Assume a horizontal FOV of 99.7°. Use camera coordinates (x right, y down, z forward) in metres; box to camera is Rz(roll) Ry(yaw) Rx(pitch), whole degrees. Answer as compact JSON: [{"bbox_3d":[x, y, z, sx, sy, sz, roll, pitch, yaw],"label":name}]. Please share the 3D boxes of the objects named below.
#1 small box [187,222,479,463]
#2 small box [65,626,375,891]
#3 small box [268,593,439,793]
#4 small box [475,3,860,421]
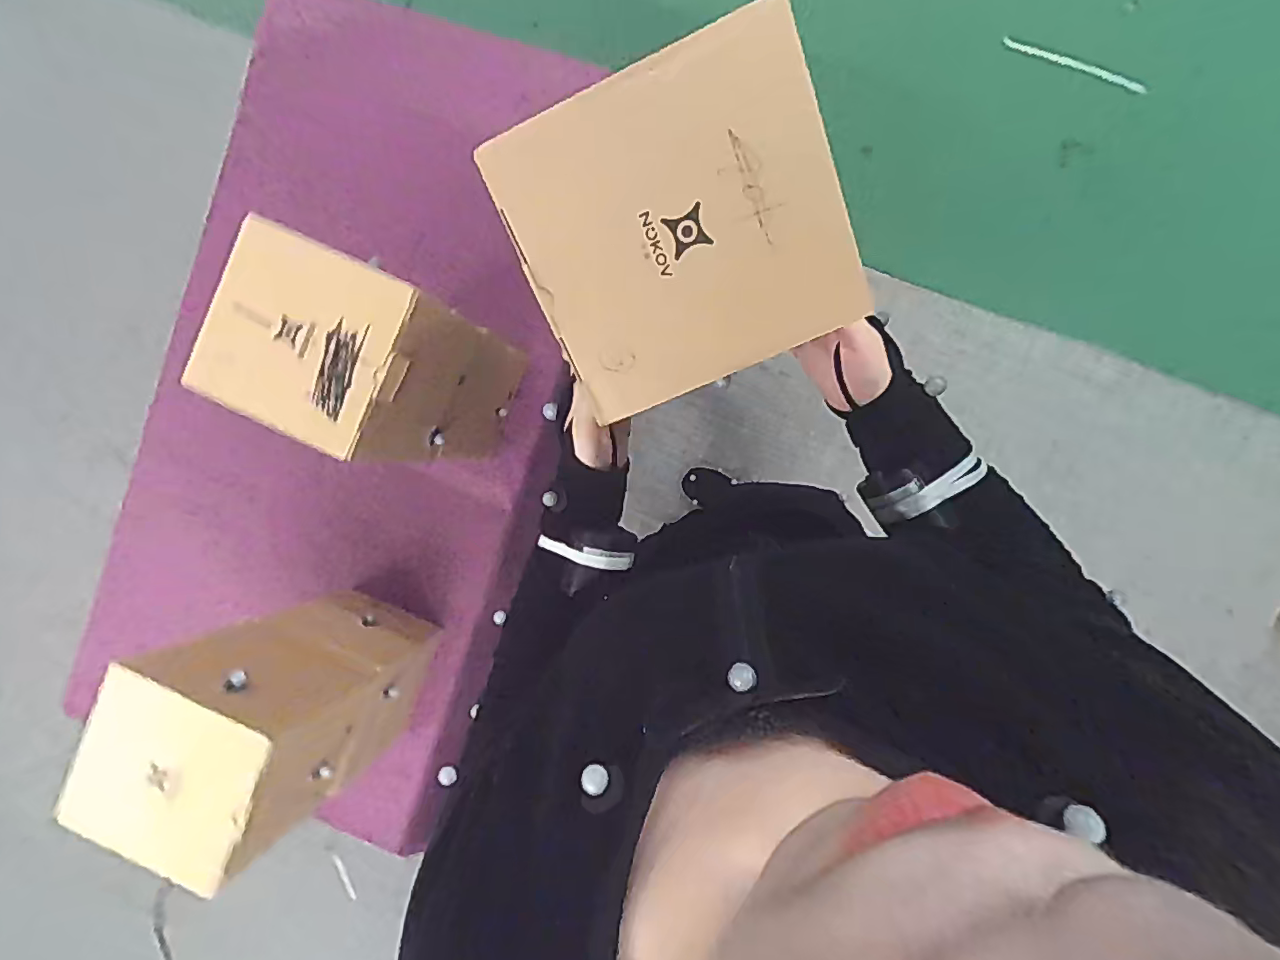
[{"bbox_3d":[-0.297,-0.127,0.562,0.179,0.176,0.168,24,94,6],"label":"small box"},{"bbox_3d":[-0.432,0.276,0.585,0.179,0.176,0.168,22,93,5],"label":"small box"},{"bbox_3d":[-0.405,0.275,0.746,0.168,0.176,0.179,22,93,6],"label":"small box"},{"bbox_3d":[0.022,-0.160,0.376,0.179,0.176,0.168,-21,107,9],"label":"small box"}]
